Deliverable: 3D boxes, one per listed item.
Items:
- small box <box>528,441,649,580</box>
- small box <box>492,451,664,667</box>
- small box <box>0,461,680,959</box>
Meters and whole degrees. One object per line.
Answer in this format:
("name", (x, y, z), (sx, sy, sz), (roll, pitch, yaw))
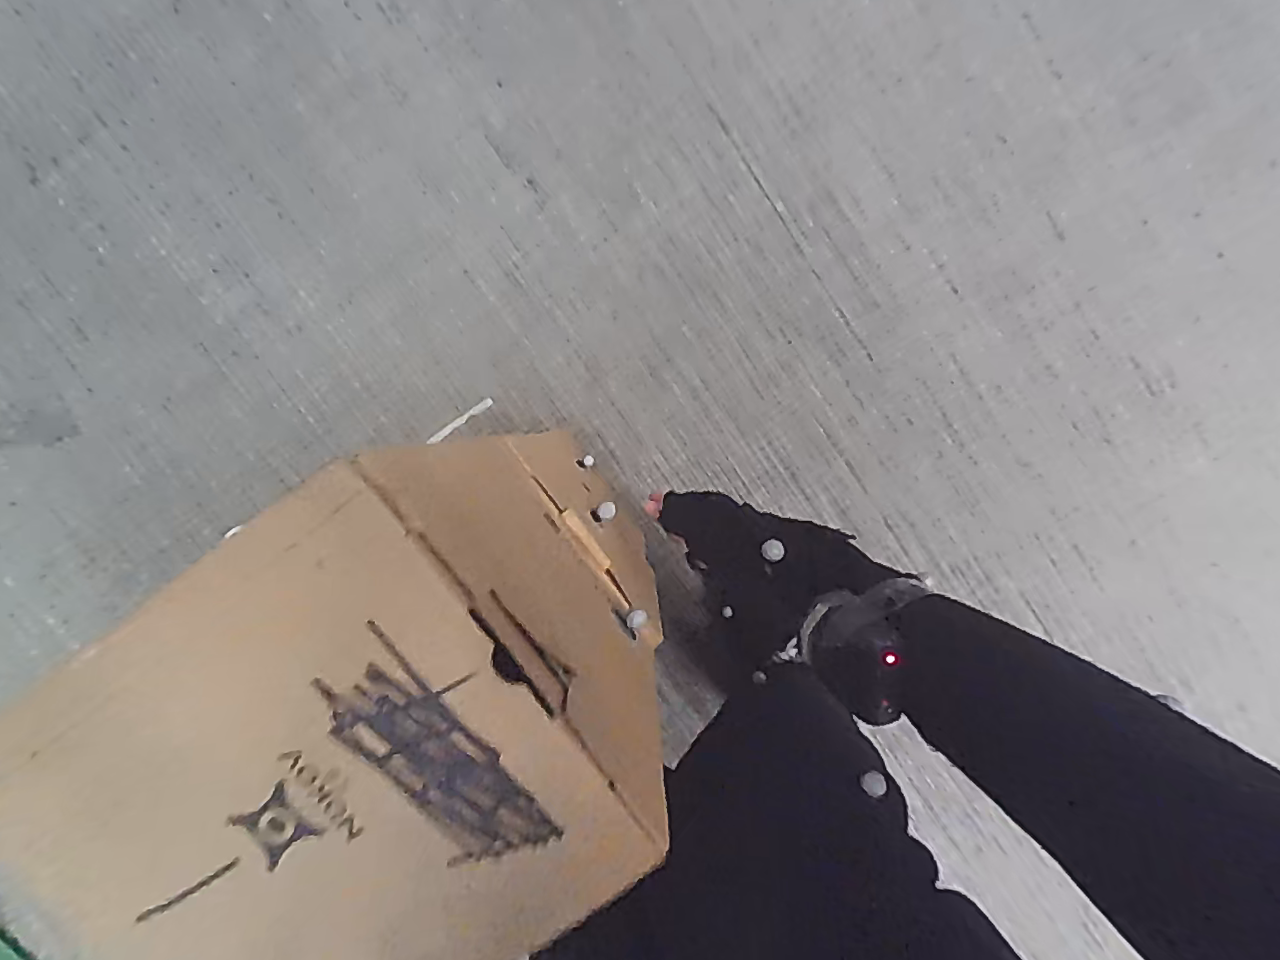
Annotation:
("small box", (-0.106, 0.069, 0.584), (0.179, 0.176, 0.168), (-36, 93, 6))
("small box", (-0.100, 0.088, 0.421), (0.179, 0.176, 0.168), (-36, 92, 4))
("small box", (-0.104, 0.105, 0.259), (0.179, 0.176, 0.168), (-38, 95, 3))
